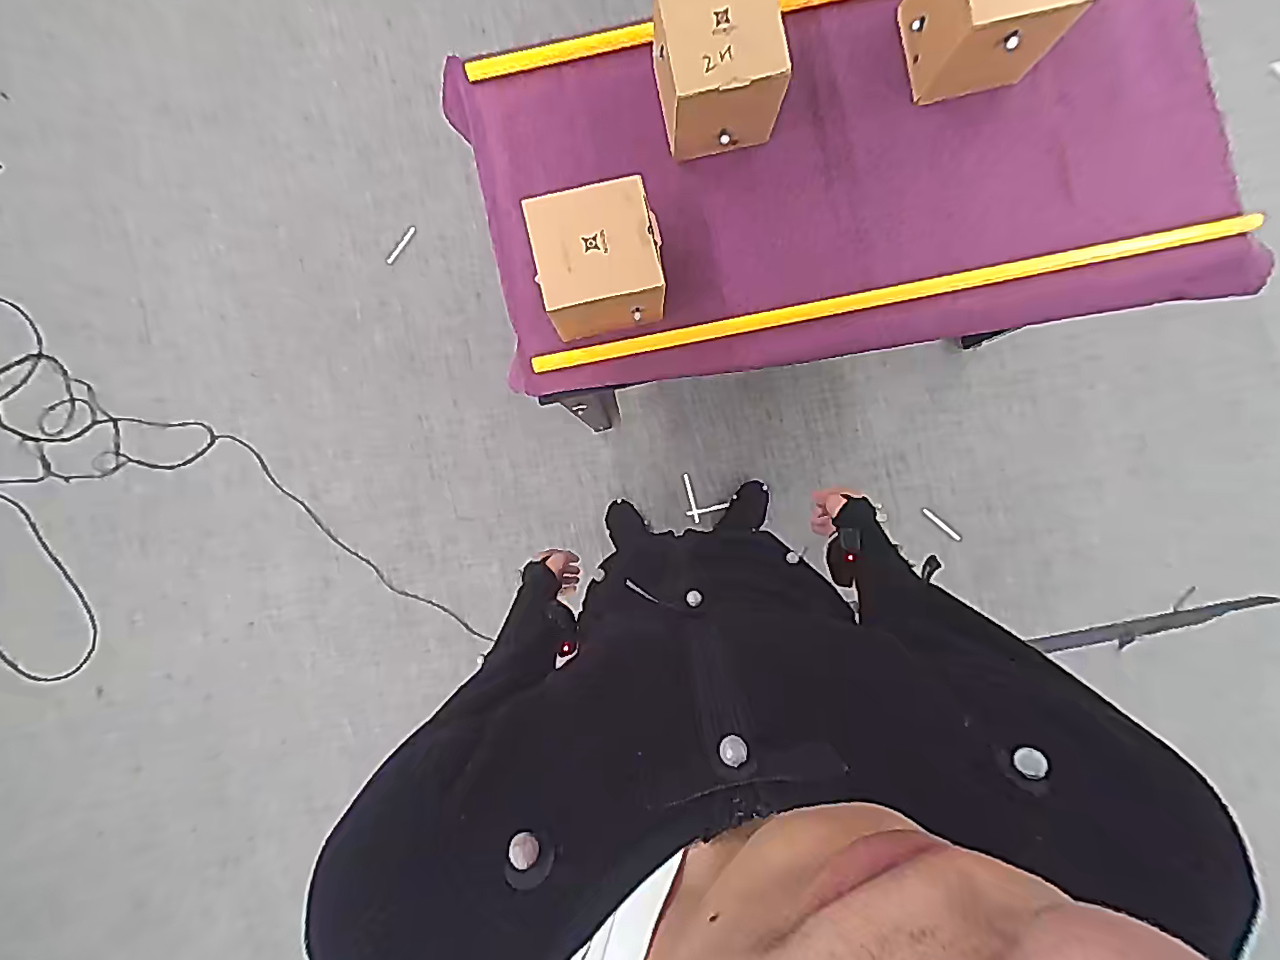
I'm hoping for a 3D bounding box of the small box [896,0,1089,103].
[{"bbox_3d":[0.527,-0.727,0.831,0.179,0.176,0.168,-11,91,2],"label":"small box"}]

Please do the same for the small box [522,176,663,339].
[{"bbox_3d":[-0.069,-0.335,0.844,0.179,0.176,0.168,-12,89,-1],"label":"small box"}]

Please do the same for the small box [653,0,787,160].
[{"bbox_3d":[0.113,-0.642,0.842,0.168,0.176,0.179,-11,91,2],"label":"small box"}]
